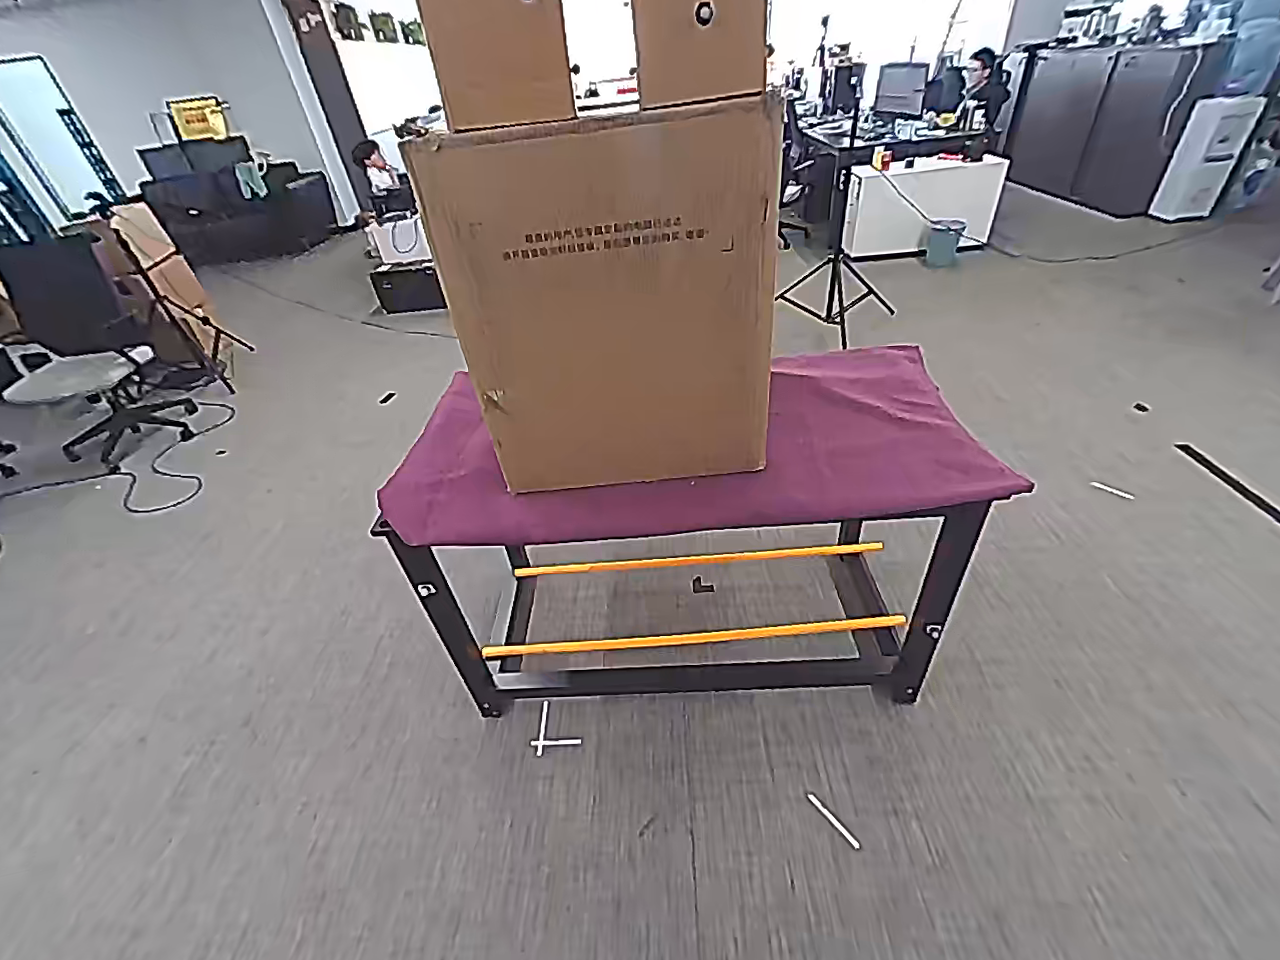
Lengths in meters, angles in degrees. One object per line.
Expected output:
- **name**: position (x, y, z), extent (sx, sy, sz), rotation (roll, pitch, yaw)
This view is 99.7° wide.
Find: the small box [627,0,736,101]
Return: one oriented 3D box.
- **small box**: position (0.067, -0.739, 0.896), extent (0.168, 0.176, 0.179), rotation (-5, 38, 5)
